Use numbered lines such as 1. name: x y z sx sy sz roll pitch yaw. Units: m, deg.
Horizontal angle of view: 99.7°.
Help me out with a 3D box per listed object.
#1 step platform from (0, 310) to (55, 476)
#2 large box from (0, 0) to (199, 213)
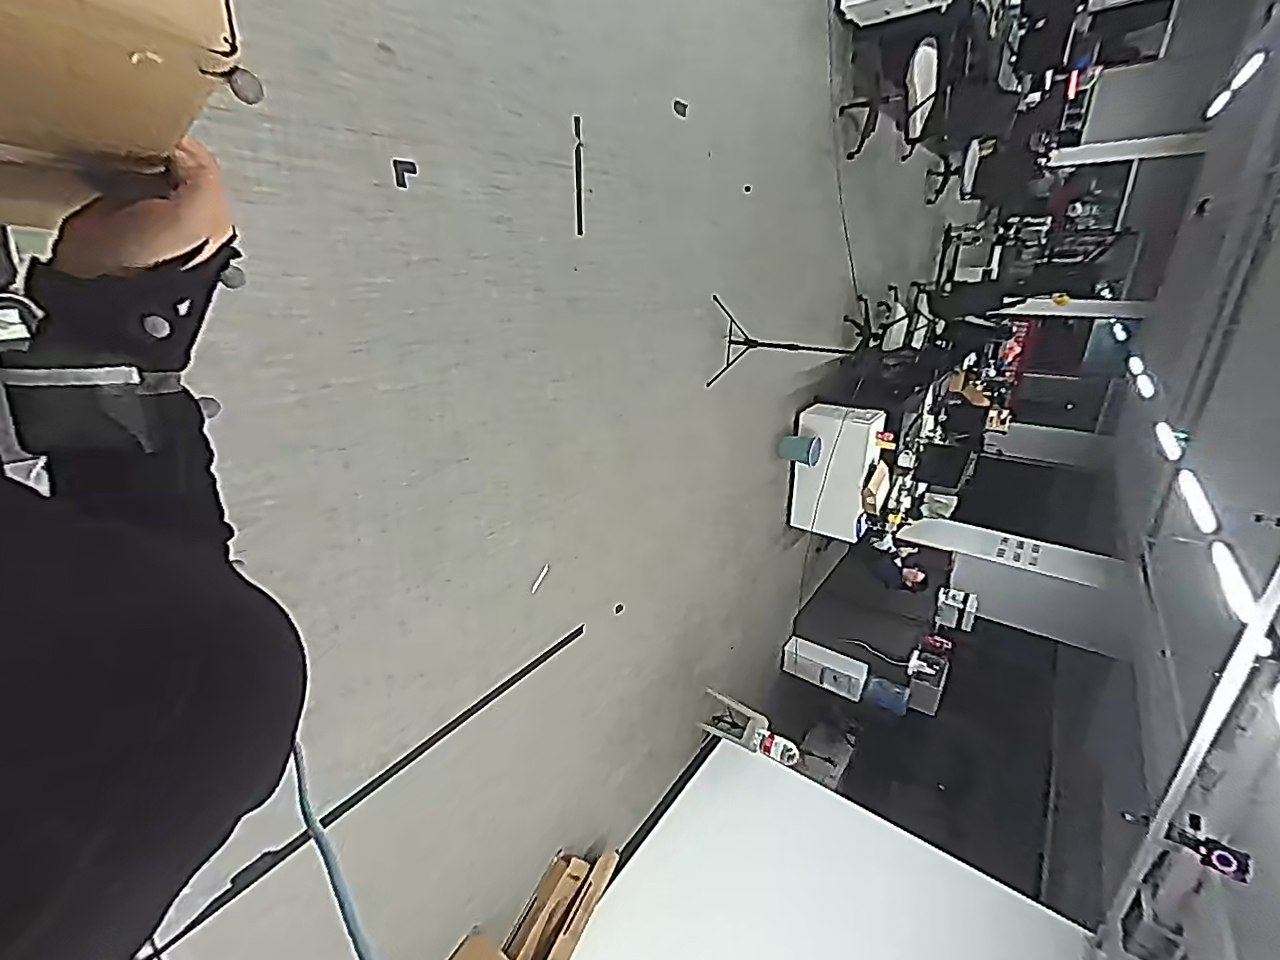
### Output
1. step platform: -1.326 -0.103 0.759 0.684 0.204 0.286 -18 117 -49
2. large box: -0.432 -0.304 0.139 0.408 0.320 0.320 -17 107 -49
